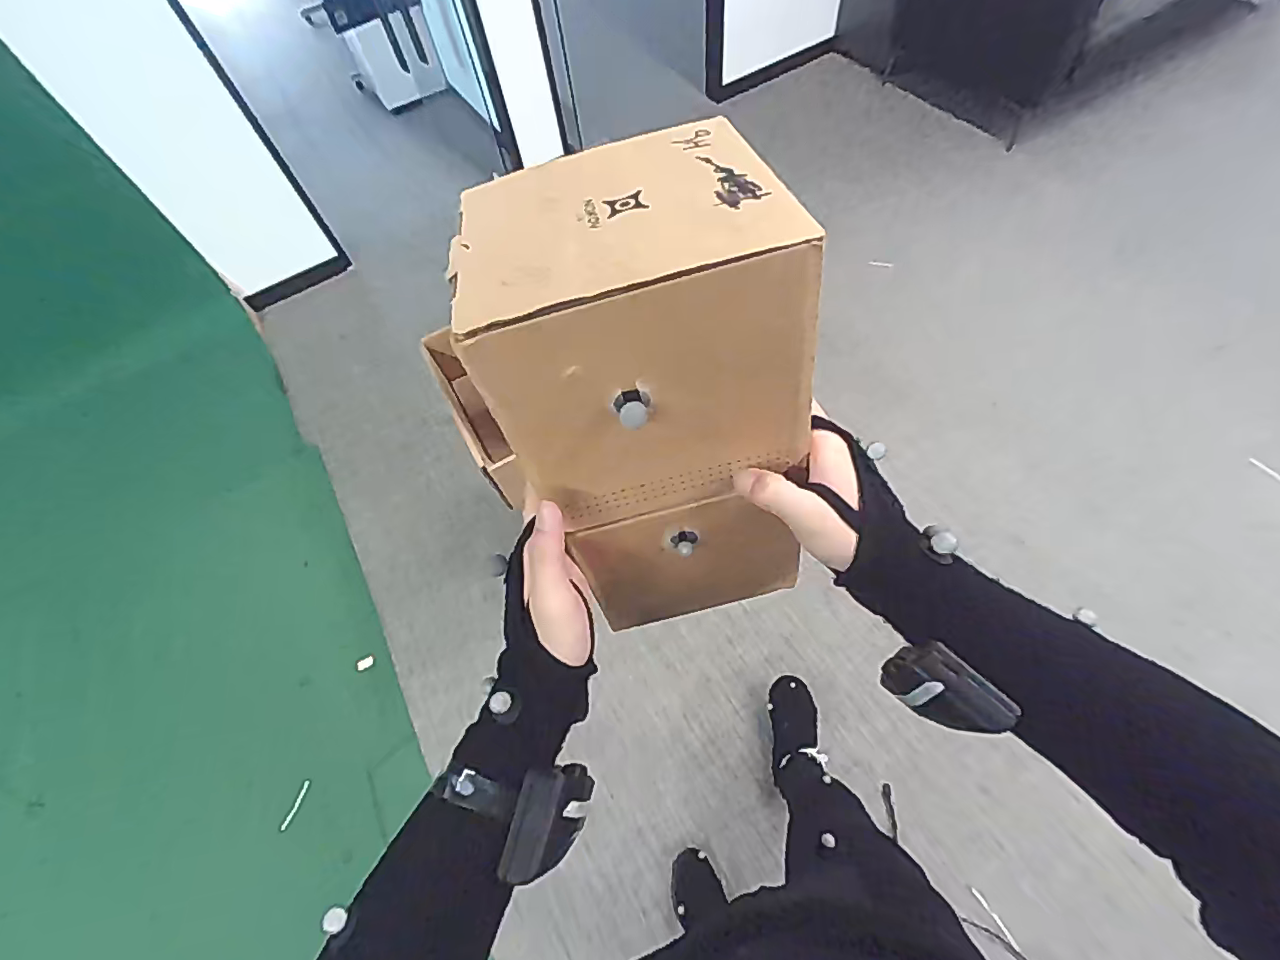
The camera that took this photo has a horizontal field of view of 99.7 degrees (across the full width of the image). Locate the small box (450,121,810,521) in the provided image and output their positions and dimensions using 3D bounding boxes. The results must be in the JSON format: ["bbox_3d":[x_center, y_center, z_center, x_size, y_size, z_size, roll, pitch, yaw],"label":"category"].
[{"bbox_3d":[-0.001,-0.095,0.357,0.179,0.176,0.168,-16,50,2],"label":"small box"}]

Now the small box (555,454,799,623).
[{"bbox_3d":[0.030,0.007,0.481,0.179,0.176,0.168,-14,50,2],"label":"small box"}]
